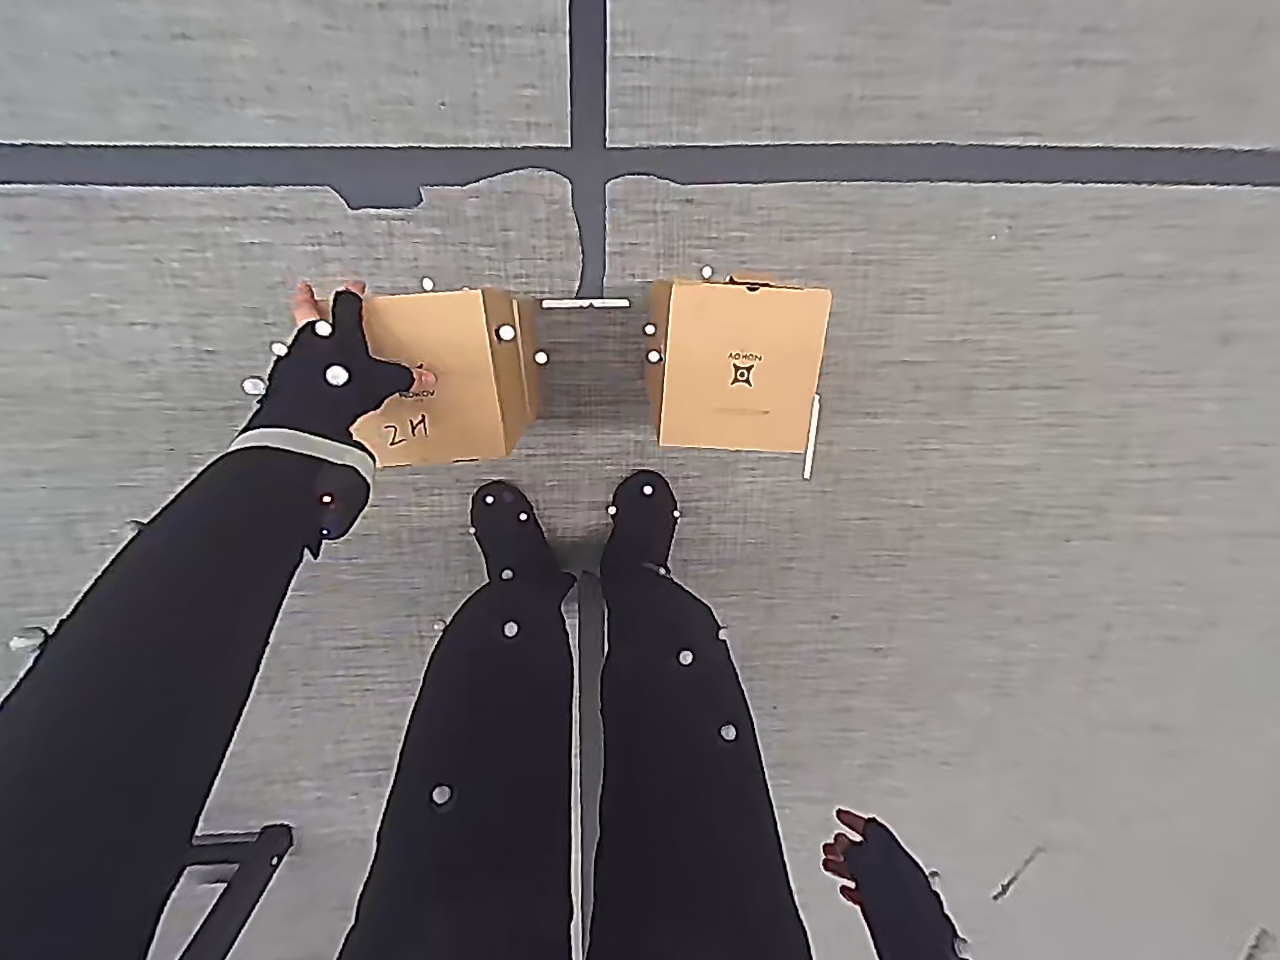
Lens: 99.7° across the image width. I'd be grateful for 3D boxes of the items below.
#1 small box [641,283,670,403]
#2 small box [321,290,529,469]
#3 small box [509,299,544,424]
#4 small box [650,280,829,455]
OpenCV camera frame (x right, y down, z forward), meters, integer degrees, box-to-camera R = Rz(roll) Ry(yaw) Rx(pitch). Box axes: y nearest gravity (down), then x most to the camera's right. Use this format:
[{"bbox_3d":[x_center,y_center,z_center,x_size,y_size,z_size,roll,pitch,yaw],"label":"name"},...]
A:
[{"bbox_3d":[0.102,-0.199,0.802,0.179,0.176,0.168,3,109,-6],"label":"small box"},{"bbox_3d":[-0.231,-0.125,0.632,0.168,0.176,0.179,-4,110,-1],"label":"small box"},{"bbox_3d":[-0.241,-0.175,0.787,0.179,0.176,0.168,-3,110,-3],"label":"small box"},{"bbox_3d":[0.103,-0.141,0.649,0.168,0.176,0.179,3,110,-4],"label":"small box"}]
